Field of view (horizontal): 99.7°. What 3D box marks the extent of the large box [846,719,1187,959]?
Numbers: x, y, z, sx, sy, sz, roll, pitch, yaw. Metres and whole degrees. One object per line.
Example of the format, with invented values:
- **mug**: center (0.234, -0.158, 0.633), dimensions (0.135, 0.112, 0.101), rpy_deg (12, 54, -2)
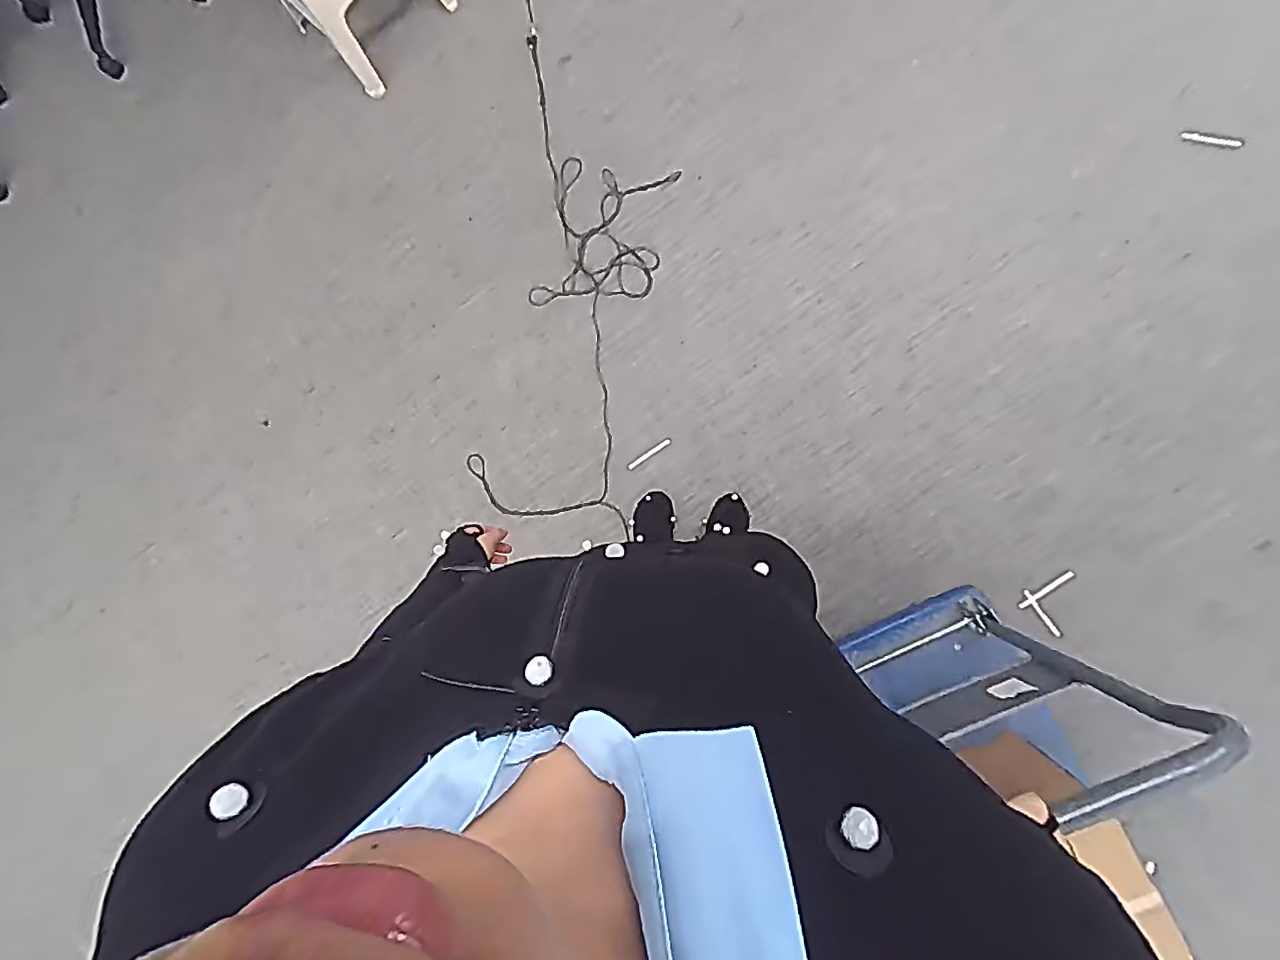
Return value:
- **large box**: center (0.704, 0.757, 1.092), dimensions (0.408, 0.320, 0.320), rpy_deg (-27, 86, 5)
